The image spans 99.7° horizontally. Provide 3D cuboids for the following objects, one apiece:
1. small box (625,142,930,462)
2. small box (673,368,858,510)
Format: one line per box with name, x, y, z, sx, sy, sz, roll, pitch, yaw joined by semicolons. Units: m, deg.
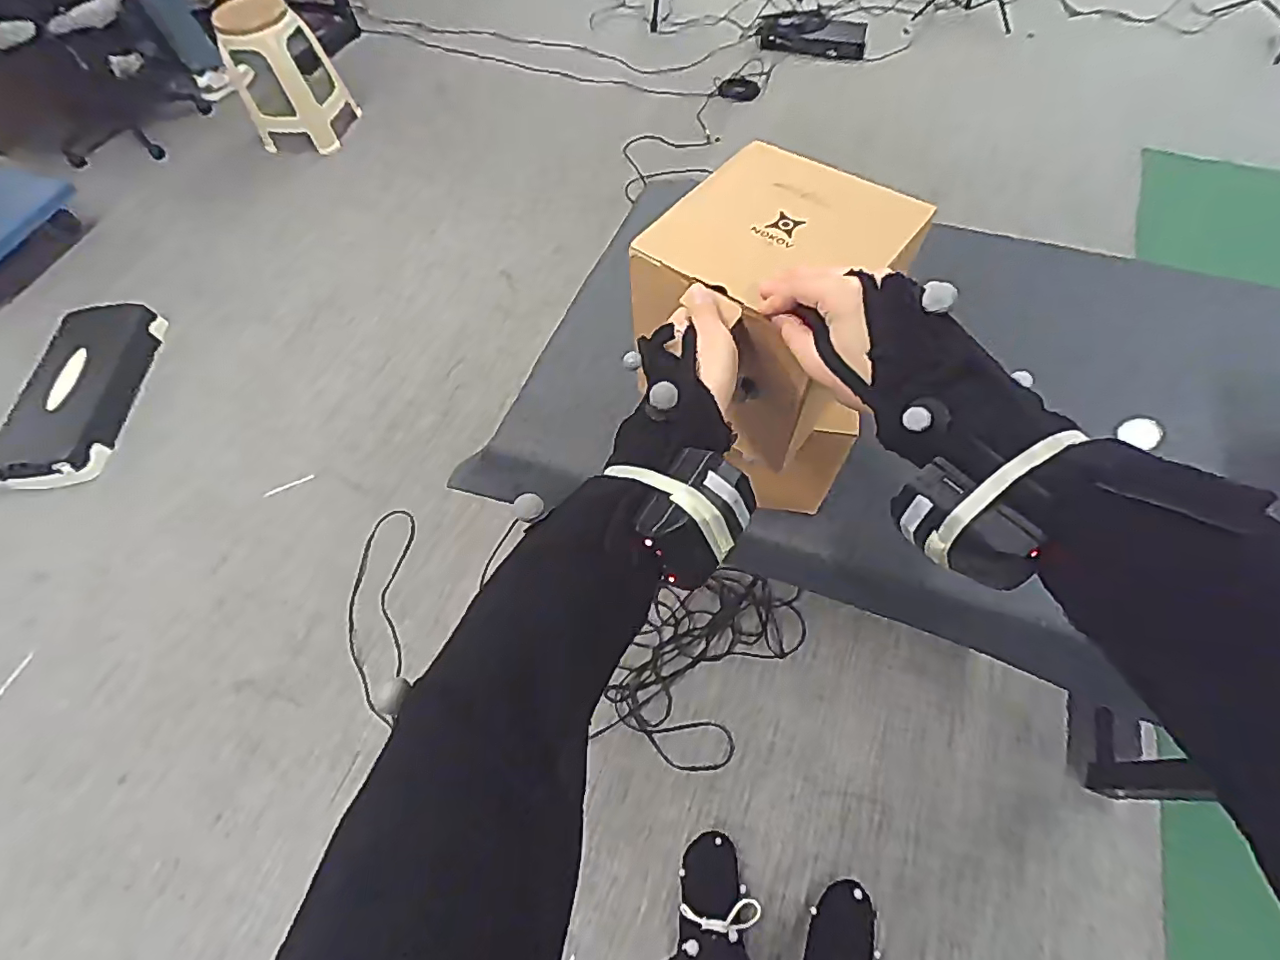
small box;0.108;-0.148;0.473;0.168;0.176;0.179;35;67;20
small box;0.136;-0.079;0.620;0.179;0.176;0.168;7;61;8
